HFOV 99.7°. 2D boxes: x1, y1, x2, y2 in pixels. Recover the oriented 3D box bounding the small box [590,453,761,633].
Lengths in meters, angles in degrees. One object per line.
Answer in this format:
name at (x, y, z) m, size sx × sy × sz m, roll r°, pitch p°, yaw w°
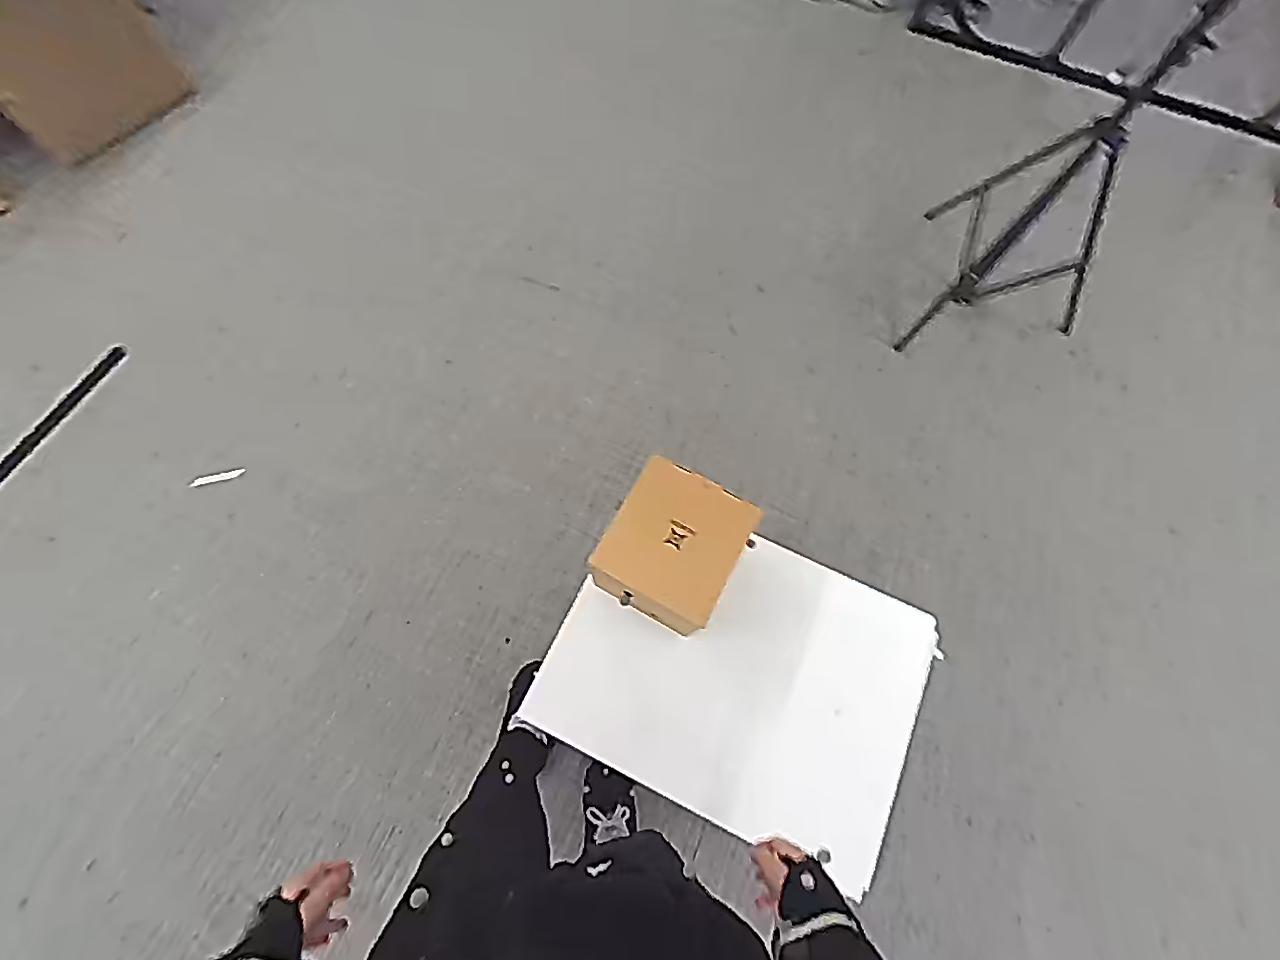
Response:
small box at (0.047, 0.099, 0.766) m, size 0.168 × 0.176 × 0.179 m, roll 28°, pitch 70°, yaw 8°
